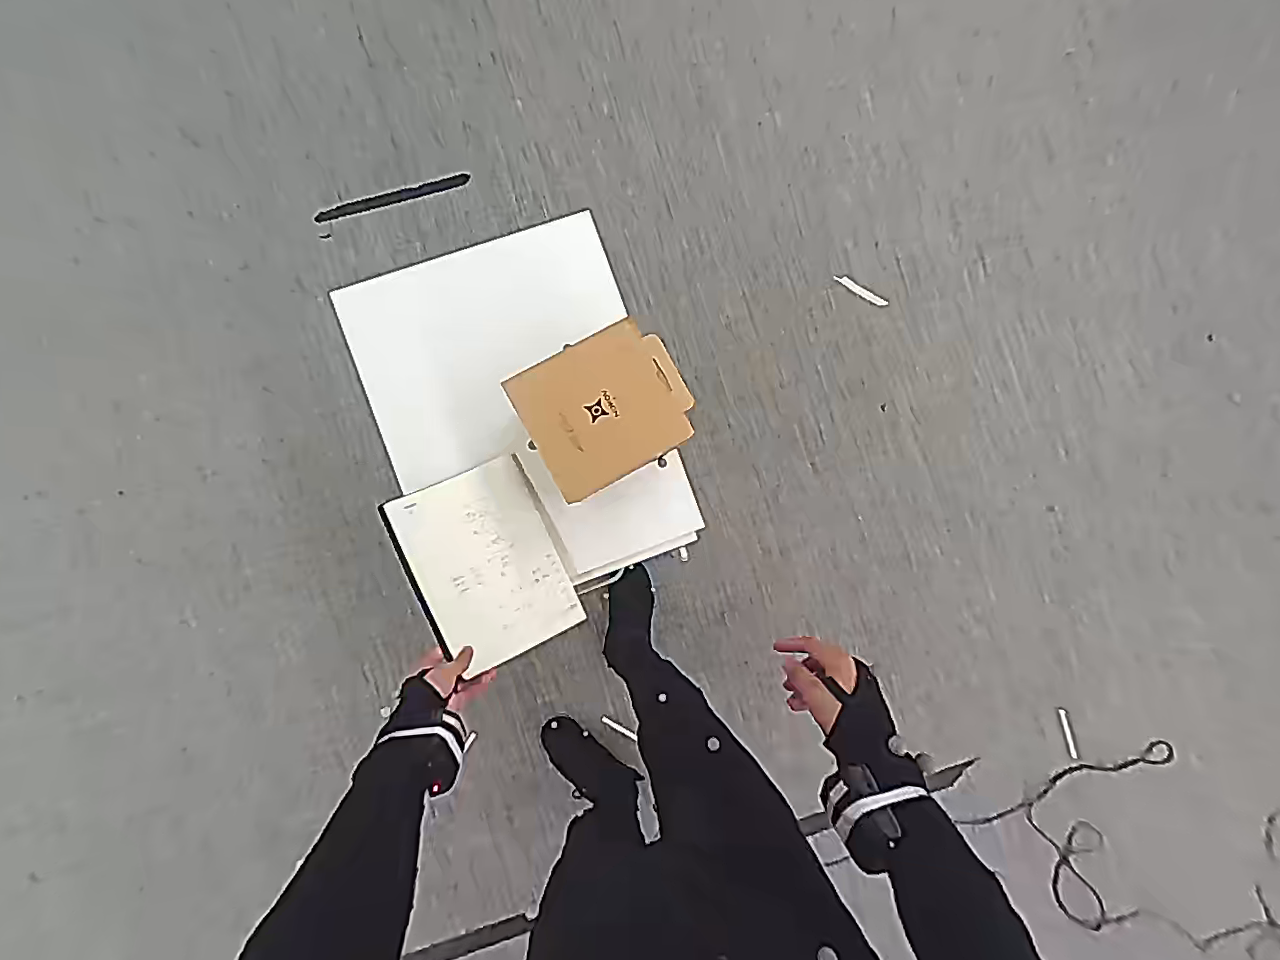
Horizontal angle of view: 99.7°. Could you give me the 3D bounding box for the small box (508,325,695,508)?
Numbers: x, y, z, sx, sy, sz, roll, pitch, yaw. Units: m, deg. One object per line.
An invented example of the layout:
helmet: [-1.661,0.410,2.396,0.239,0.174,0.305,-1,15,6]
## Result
small box: [-0.051,-0.076,0.722,0.179,0.176,0.168,-28,90,-4]
